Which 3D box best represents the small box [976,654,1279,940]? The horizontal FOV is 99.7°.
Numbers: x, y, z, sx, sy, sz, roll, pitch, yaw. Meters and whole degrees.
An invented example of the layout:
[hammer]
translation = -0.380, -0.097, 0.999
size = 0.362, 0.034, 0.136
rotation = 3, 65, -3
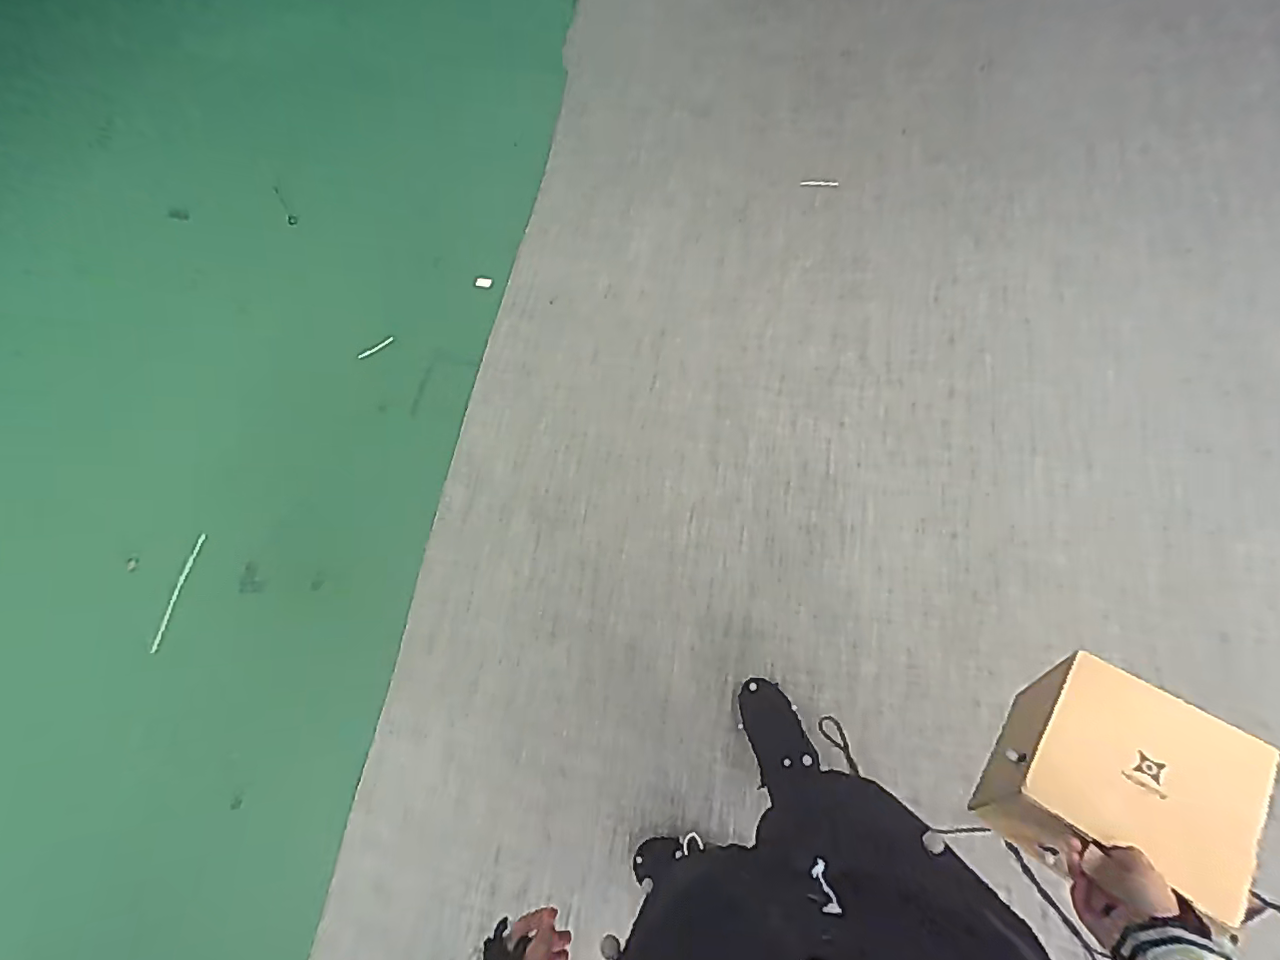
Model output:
[small box]
translation = 0.488, 0.323, 0.567
size = 0.168, 0.176, 0.179
rotation = 30, 65, 28
